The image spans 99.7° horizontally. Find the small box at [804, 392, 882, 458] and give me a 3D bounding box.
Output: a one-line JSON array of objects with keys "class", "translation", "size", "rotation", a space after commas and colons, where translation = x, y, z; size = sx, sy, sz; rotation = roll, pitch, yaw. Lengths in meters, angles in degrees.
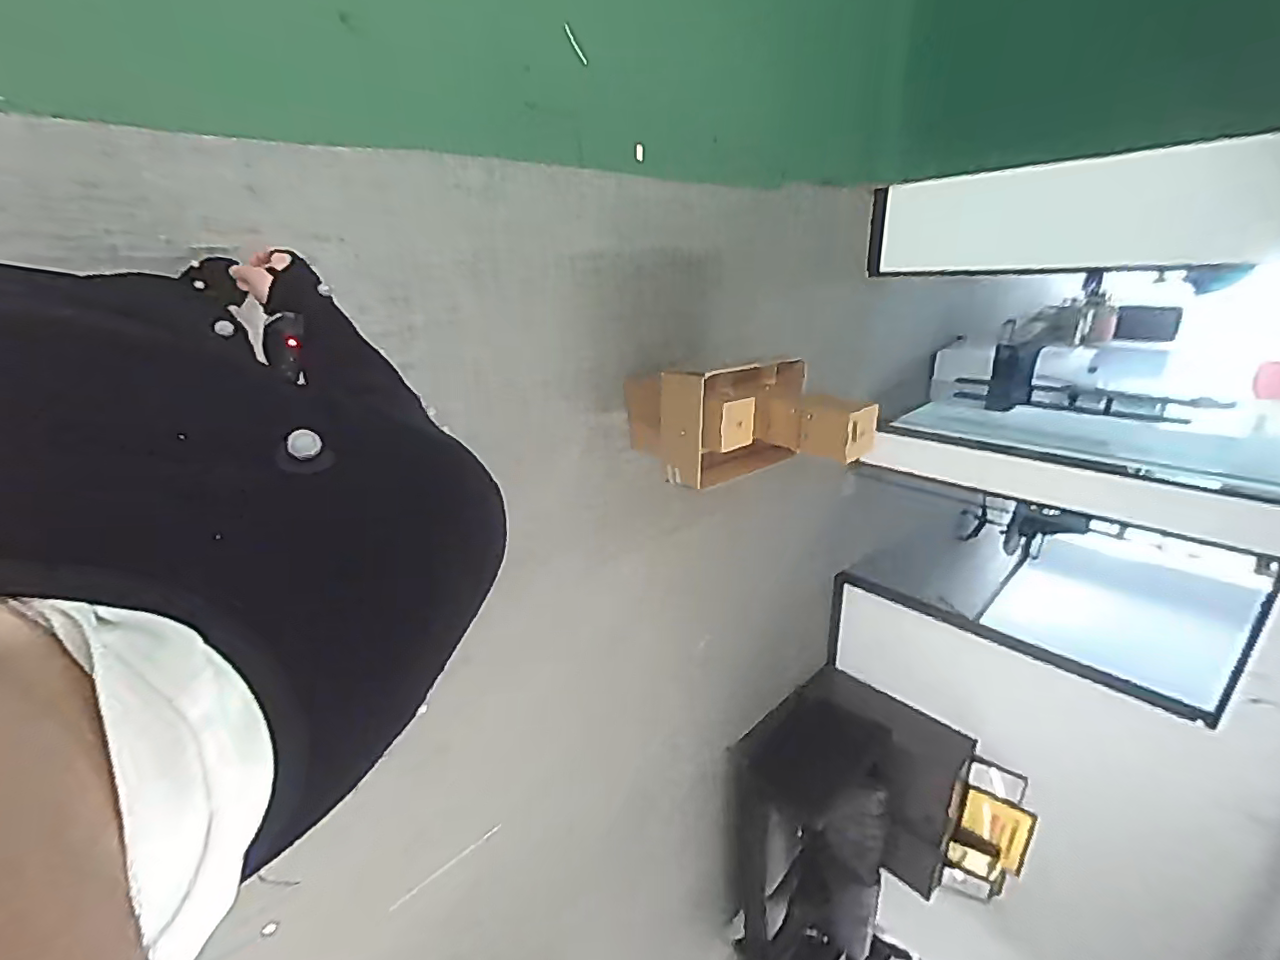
[{"class": "small box", "translation": [0.653, -0.183, 1.749], "size": [0.179, 0.176, 0.168], "rotation": [-19, 118, -36]}]

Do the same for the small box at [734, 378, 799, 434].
[{"class": "small box", "translation": [0.460, -0.279, 1.998], "size": [0.179, 0.176, 0.168], "rotation": [-17, 117, -36]}]

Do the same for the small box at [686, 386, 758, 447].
[{"class": "small box", "translation": [0.277, -0.221, 1.833], "size": [0.179, 0.176, 0.168], "rotation": [-17, 116, -40]}]
